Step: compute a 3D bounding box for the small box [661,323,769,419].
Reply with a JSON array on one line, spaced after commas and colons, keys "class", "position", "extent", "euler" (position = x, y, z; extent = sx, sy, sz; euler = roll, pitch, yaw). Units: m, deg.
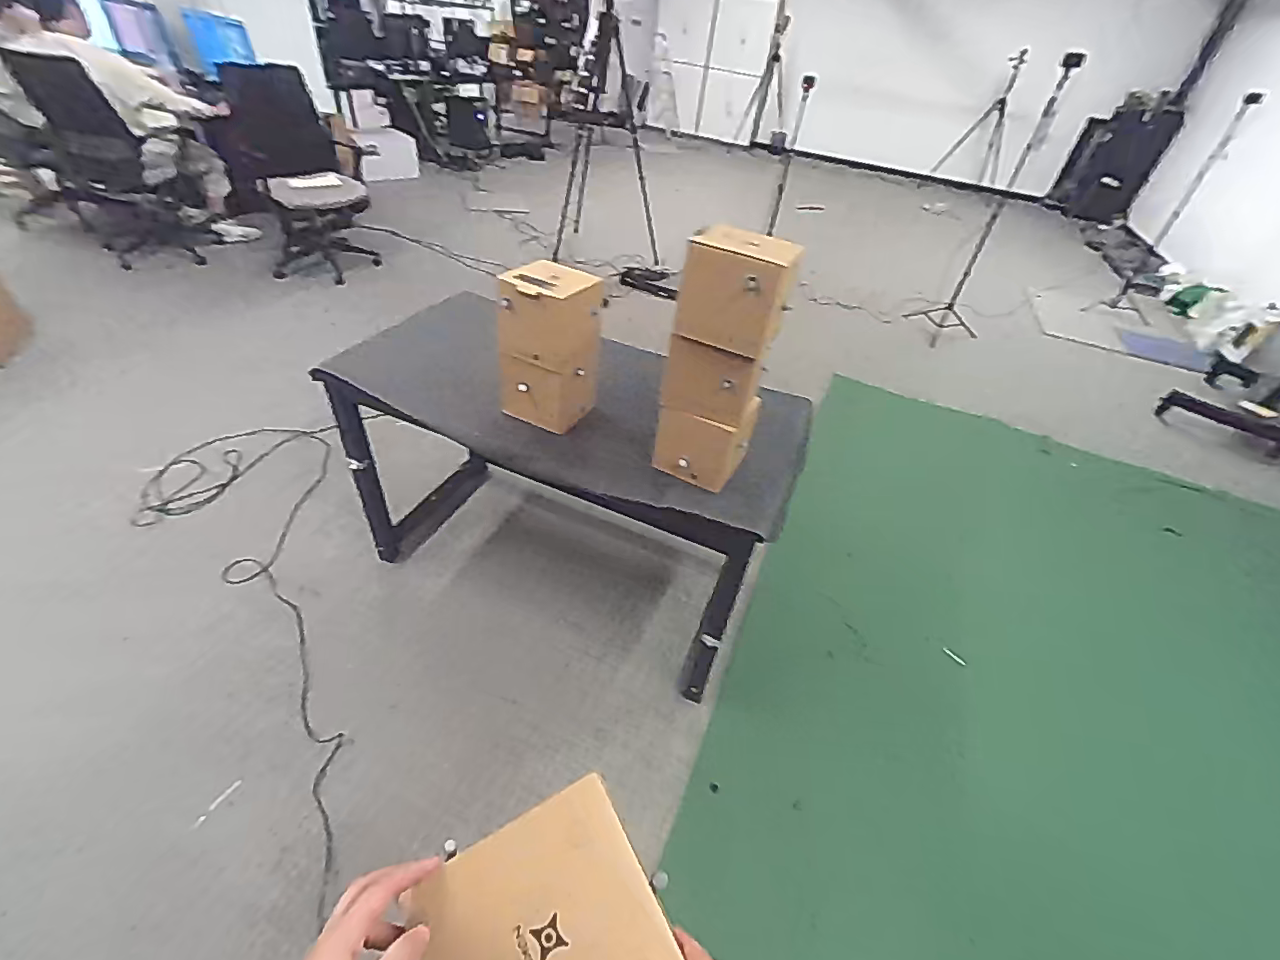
[{"class": "small box", "position": [0.156, -0.244, 1.111], "extent": [0.179, 0.176, 0.168], "euler": [17, 38, 13]}]

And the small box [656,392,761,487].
[{"class": "small box", "position": [0.148, -0.115, 1.209], "extent": [0.168, 0.176, 0.179], "euler": [23, 41, 19]}]

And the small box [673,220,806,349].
[{"class": "small box", "position": [0.178, -0.356, 0.990], "extent": [0.179, 0.176, 0.168], "euler": [22, 39, 17]}]

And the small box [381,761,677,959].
[{"class": "small box", "position": [-0.088, 0.370, 0.472], "extent": [0.179, 0.176, 0.168], "euler": [-26, 66, -15]}]

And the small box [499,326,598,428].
[{"class": "small box", "position": [-0.220, -0.248, 1.311], "extent": [0.179, 0.176, 0.168], "euler": [21, 41, 16]}]
